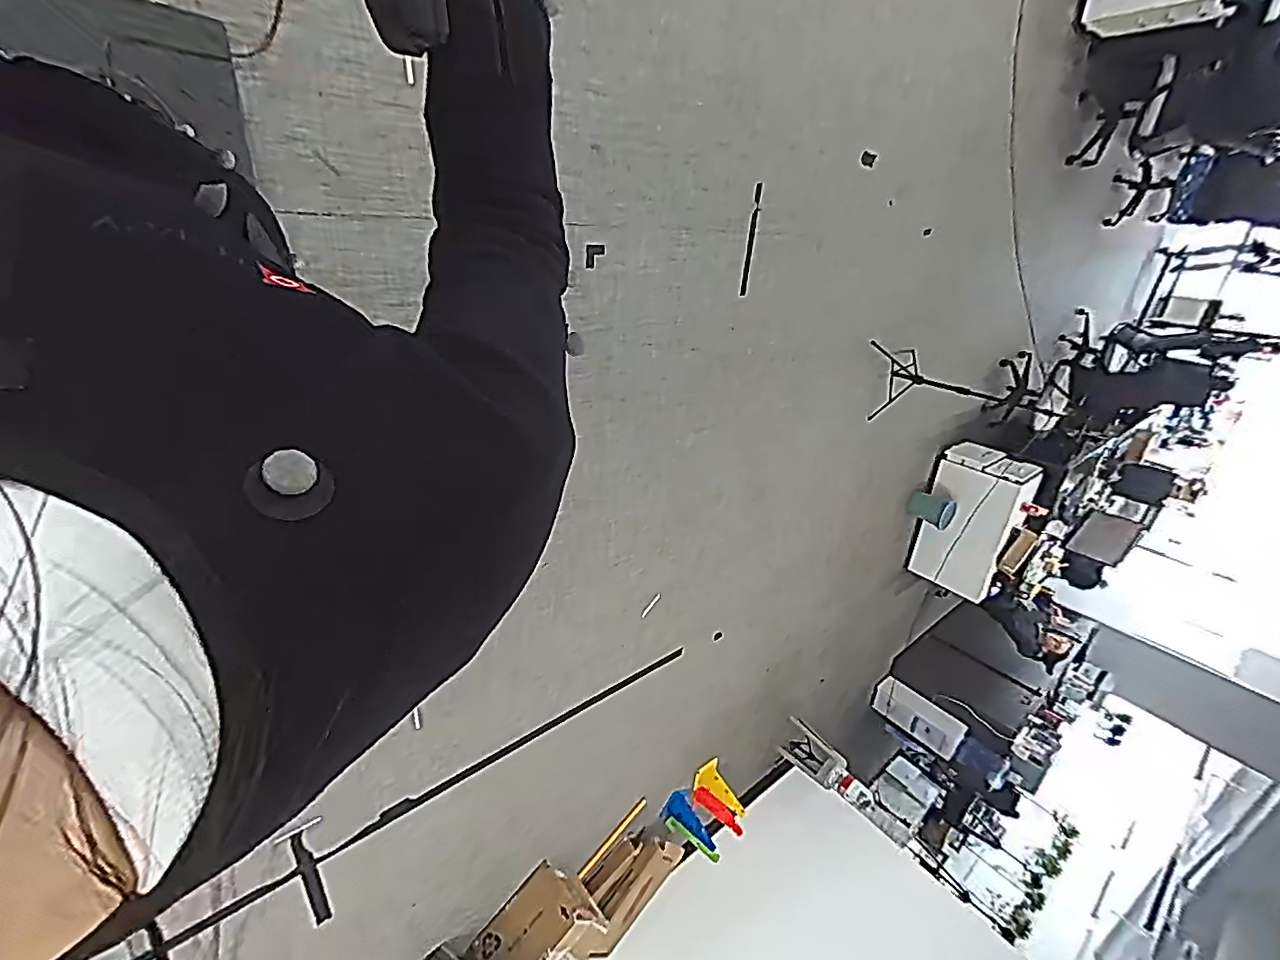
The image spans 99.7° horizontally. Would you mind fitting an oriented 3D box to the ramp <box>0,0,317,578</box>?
[{"bbox_3d":[-0.977,-0.340,1.018,0.509,0.206,0.991,-15,120,-35],"label":"ramp"}]
